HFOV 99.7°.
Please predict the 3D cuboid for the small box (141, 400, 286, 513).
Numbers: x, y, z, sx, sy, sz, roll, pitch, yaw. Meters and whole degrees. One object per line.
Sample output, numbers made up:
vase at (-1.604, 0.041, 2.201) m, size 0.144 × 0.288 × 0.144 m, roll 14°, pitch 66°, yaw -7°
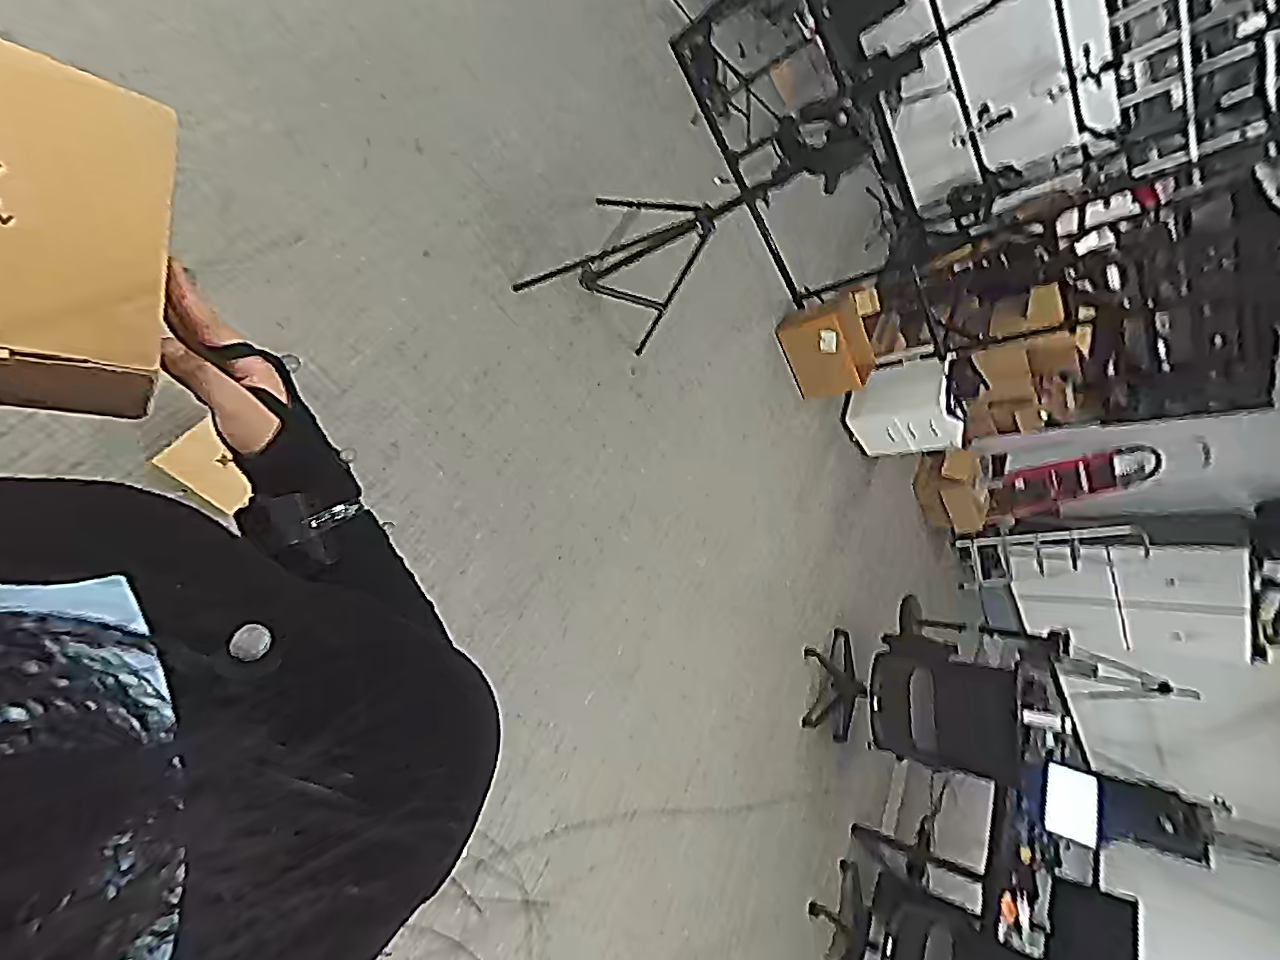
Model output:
small box at (-0.911, -0.041, 1.156) m, size 0.168 × 0.176 × 0.179 m, roll 51°, pitch 53°, yaw -29°
